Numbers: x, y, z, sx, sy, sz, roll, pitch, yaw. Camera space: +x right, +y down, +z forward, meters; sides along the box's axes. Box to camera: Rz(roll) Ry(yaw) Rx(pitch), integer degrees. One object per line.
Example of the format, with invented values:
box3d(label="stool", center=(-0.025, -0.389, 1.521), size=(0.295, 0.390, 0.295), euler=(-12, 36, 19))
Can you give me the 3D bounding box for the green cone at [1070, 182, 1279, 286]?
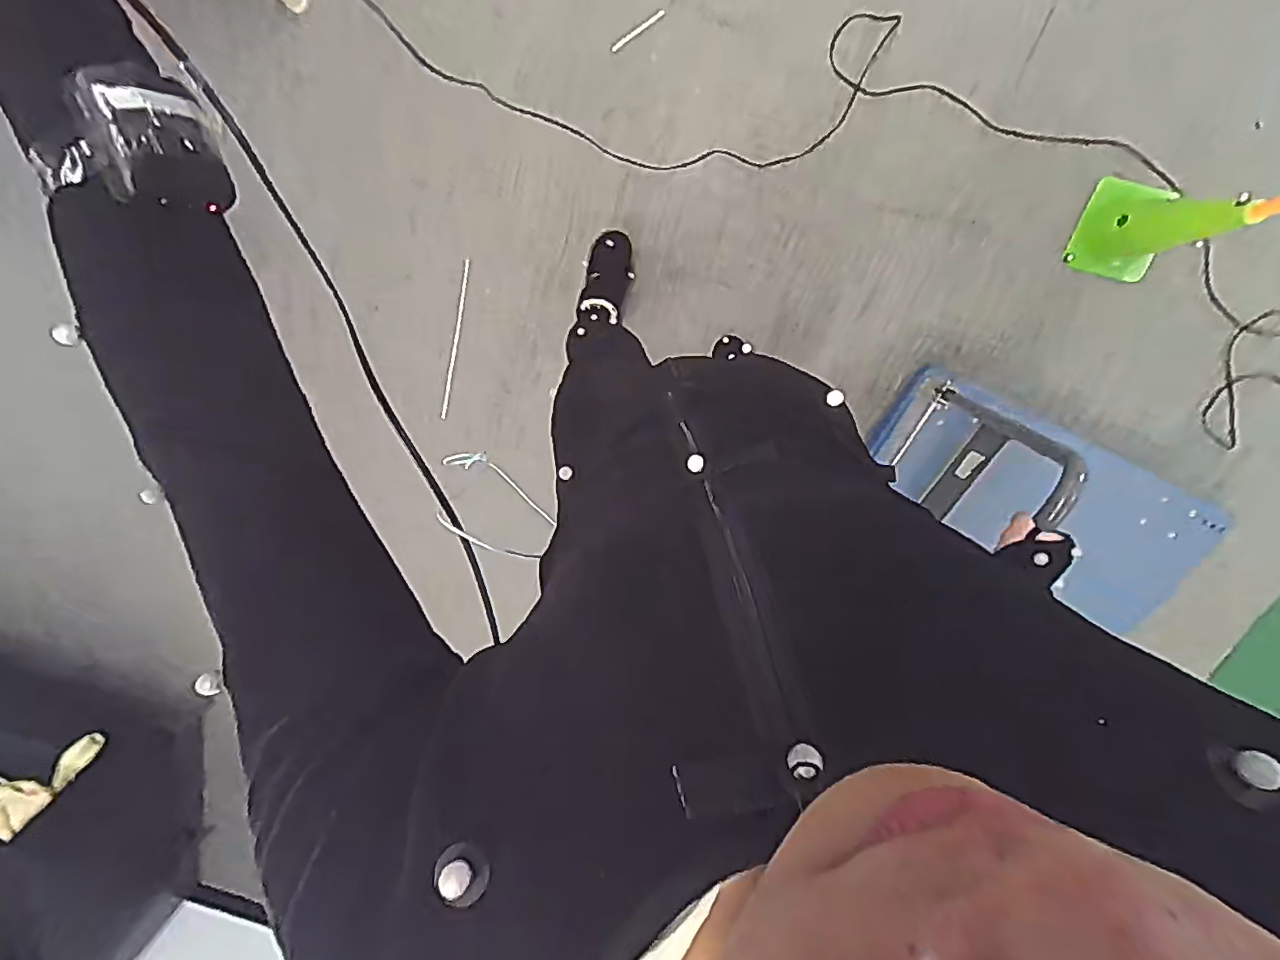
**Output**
box3d(label="green cone", center=(1.138, -0.528, 1.121), size=(0.200, 0.368, 0.202), euler=(15, 109, 2))
